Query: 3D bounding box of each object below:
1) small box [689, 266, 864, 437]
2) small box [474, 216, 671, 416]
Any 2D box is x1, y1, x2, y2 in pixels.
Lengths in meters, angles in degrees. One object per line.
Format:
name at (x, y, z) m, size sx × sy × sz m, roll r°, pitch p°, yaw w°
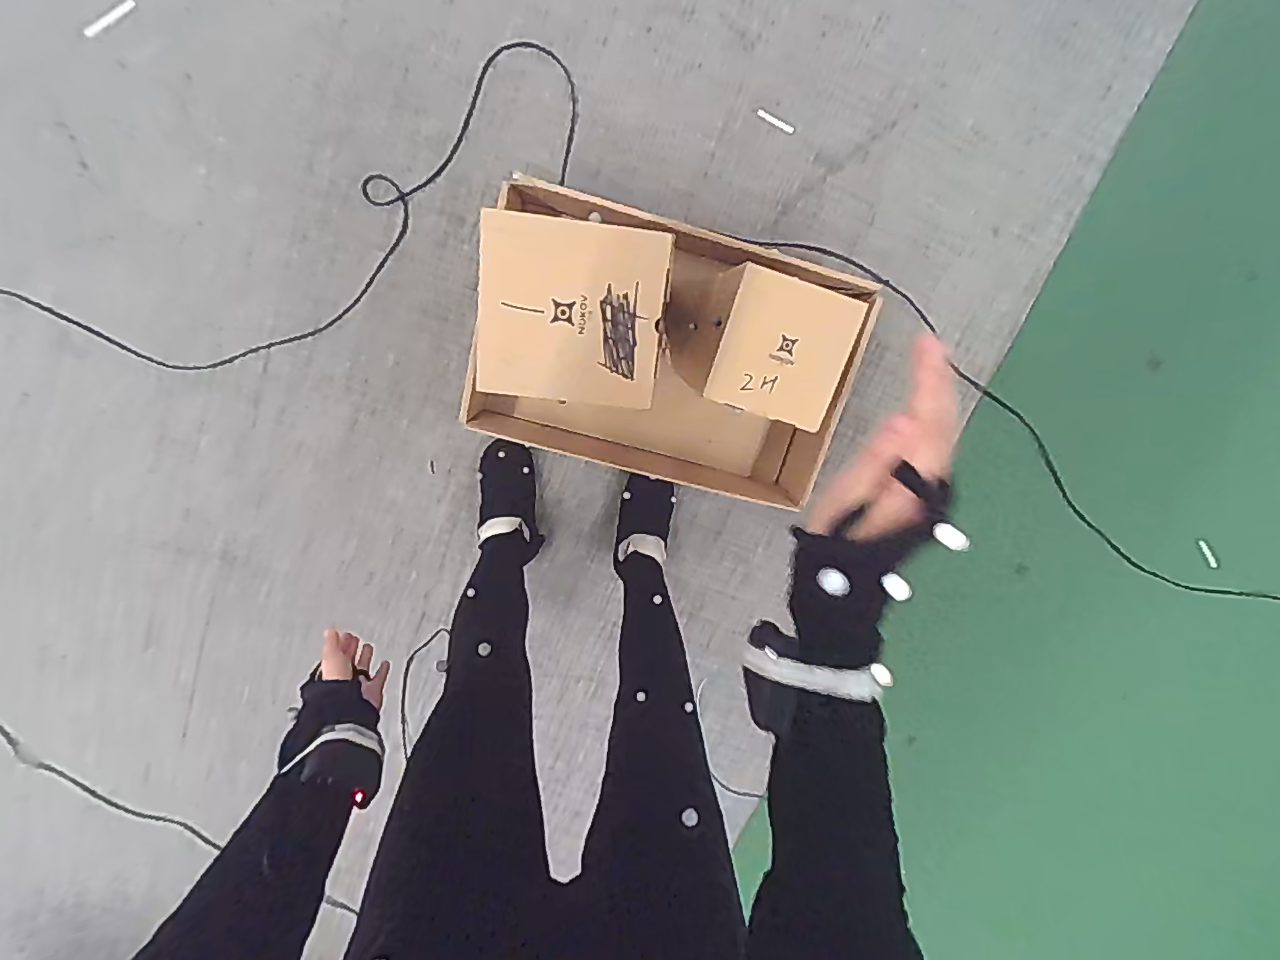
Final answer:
small box at (0.177, -0.182, 0.765) m, size 0.168 × 0.176 × 0.179 m, roll 17°, pitch 105°, yaw -6°
small box at (-0.072, -0.174, 0.587) m, size 0.179 × 0.176 × 0.168 m, roll 6°, pitch 107°, yaw -5°
